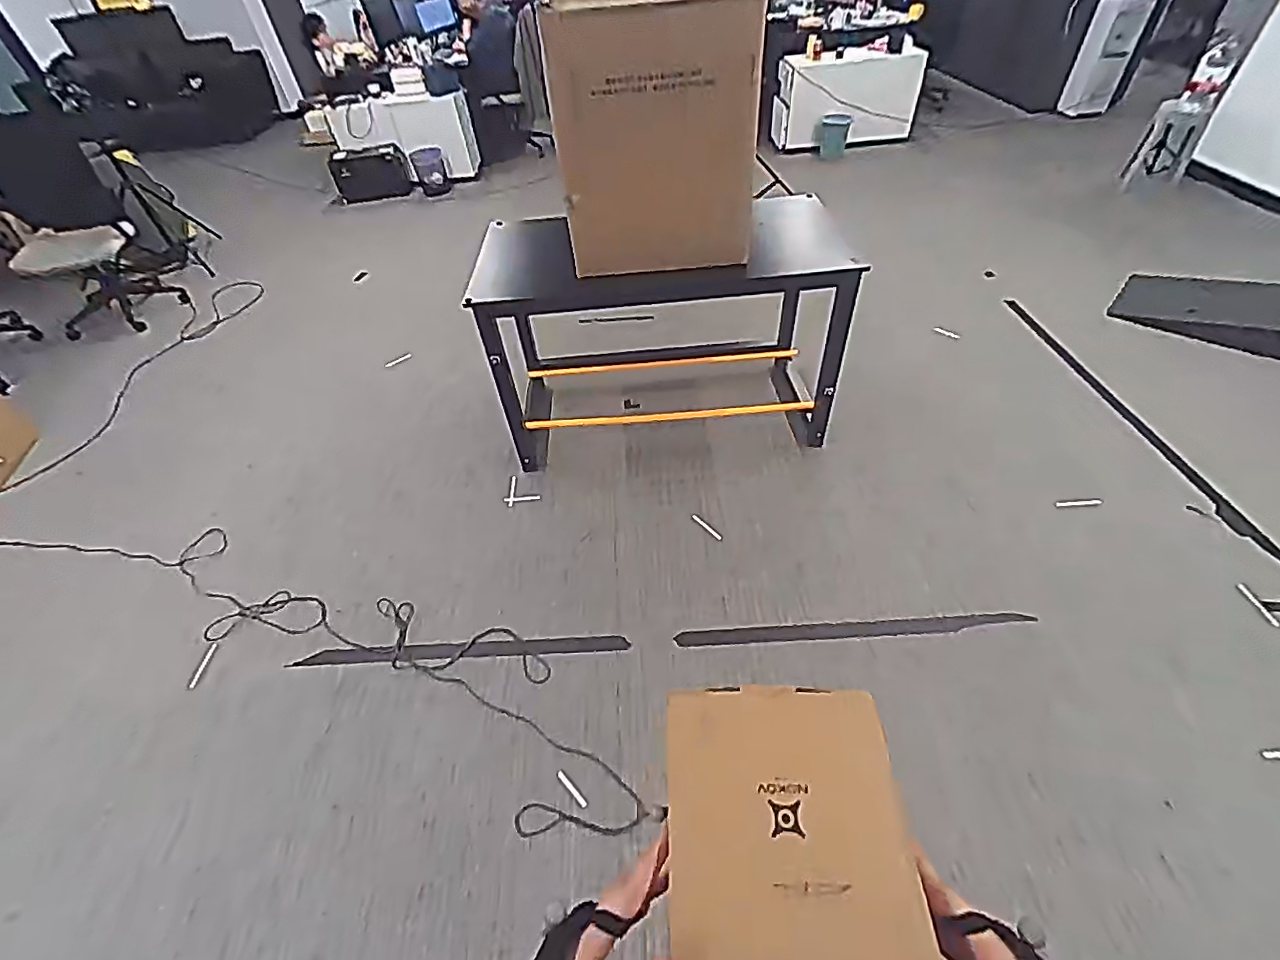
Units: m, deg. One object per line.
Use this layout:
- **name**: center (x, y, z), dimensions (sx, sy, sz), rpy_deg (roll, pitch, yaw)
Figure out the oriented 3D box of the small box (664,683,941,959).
- **small box**: center (0.104, 0.284, 0.436), dimensions (0.168, 0.176, 0.179), rpy_deg (0, 48, 3)
